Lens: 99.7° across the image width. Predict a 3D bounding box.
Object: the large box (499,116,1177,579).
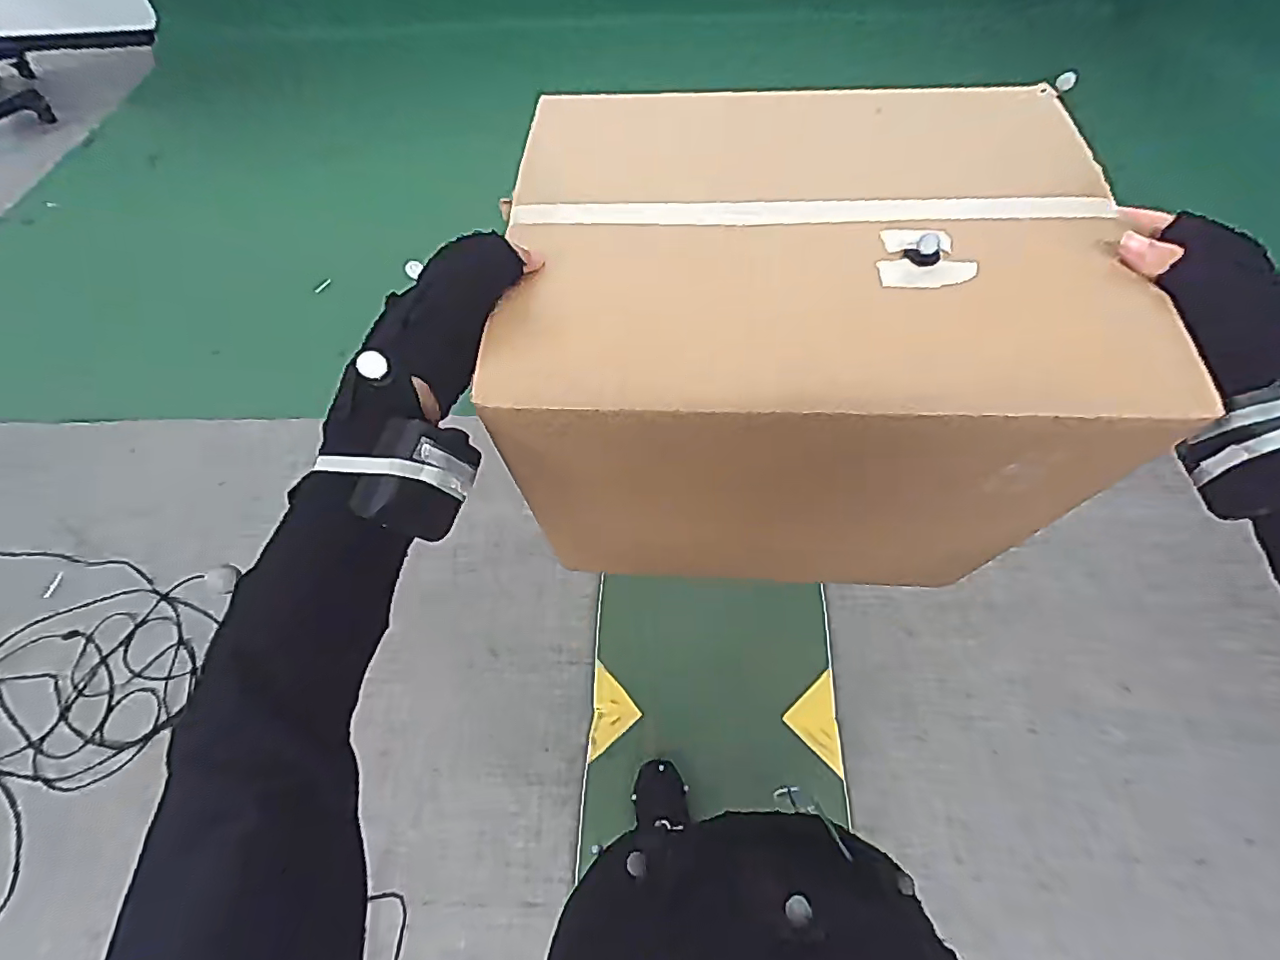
[{"bbox_3d":[0.119,-0.101,0.517,0.408,0.320,0.320,1,62,3],"label":"large box"}]
